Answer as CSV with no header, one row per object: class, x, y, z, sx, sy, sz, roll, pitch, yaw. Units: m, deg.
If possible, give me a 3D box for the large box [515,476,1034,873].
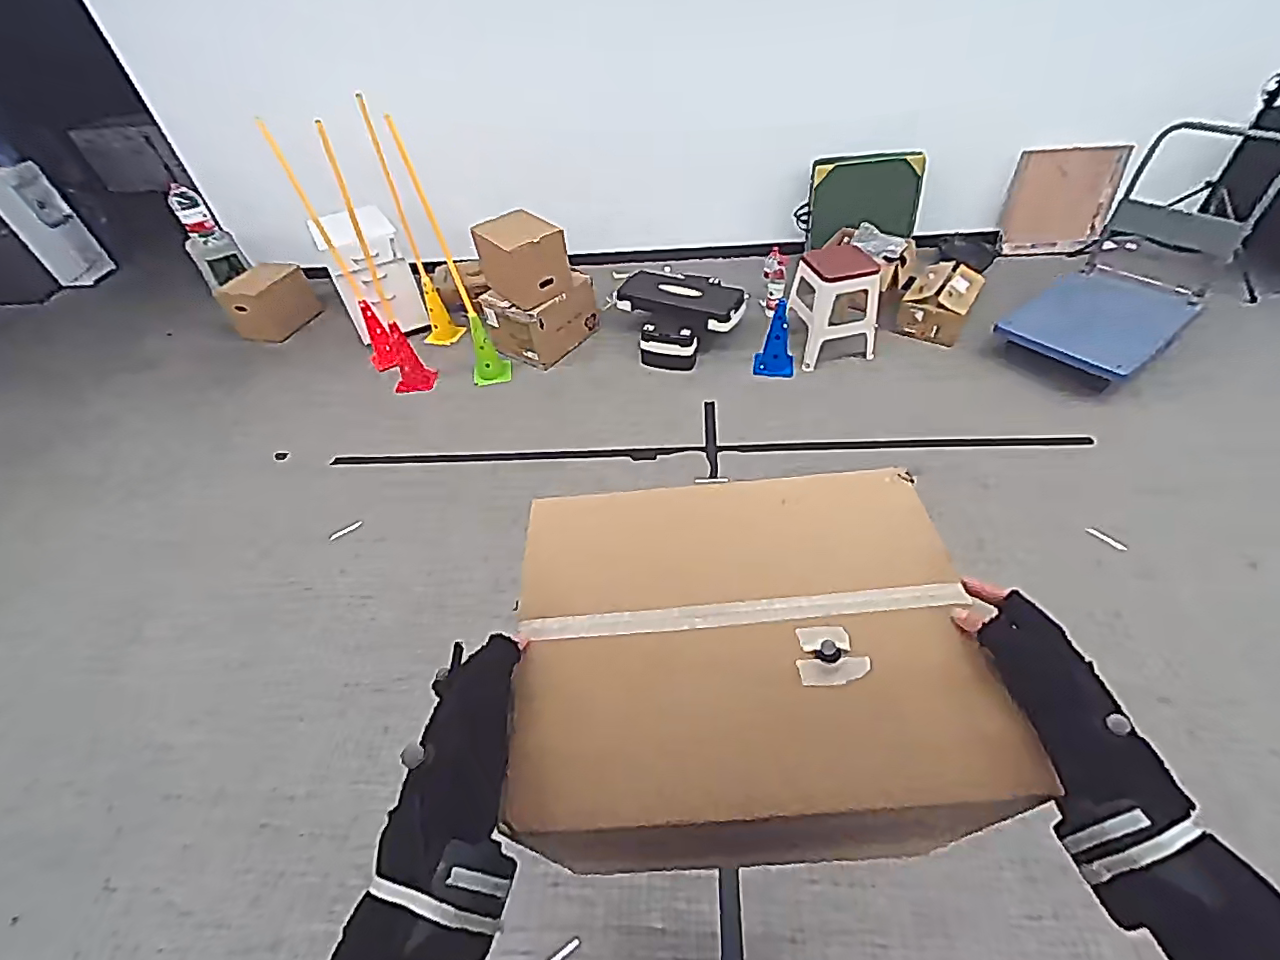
large box,0.102,0.226,0.614,0.408,0.320,0.320,-5,49,2
